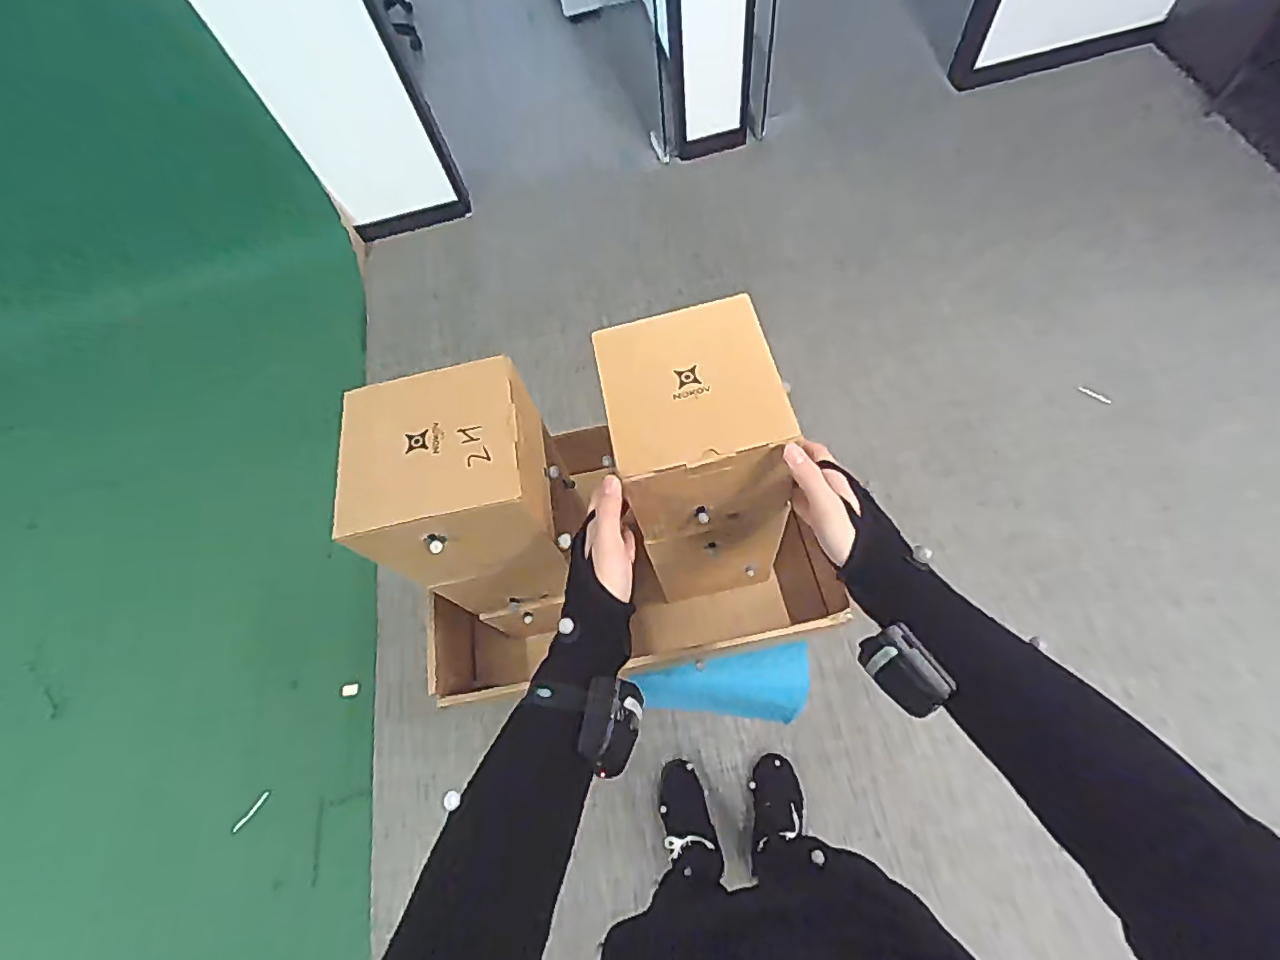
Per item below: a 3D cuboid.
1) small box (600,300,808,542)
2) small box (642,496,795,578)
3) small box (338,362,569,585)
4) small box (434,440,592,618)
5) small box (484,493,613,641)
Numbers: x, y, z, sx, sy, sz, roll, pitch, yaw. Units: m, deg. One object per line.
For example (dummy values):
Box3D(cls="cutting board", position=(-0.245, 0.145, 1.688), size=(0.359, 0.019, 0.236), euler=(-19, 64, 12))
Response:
Box3D(cls="small box", position=(0.062, -0.054, 0.578), size=(0.168, 0.176, 0.179), euler=(-13, 64, 2))
Box3D(cls="small box", position=(0.089, 0.017, 0.721), size=(0.179, 0.176, 0.168), euler=(-14, 63, 3))
Box3D(cls="small box", position=(-0.188, 0.003, 0.586), size=(0.179, 0.176, 0.168), euler=(-12, 63, 2))
Box3D(cls="small box", position=(-0.169, 0.071, 0.734), size=(0.168, 0.176, 0.179), euler=(-12, 63, 1))
Box3D(cls="small box", position=(-0.146, 0.146, 0.877), size=(0.168, 0.176, 0.179), euler=(-12, 62, 2))
